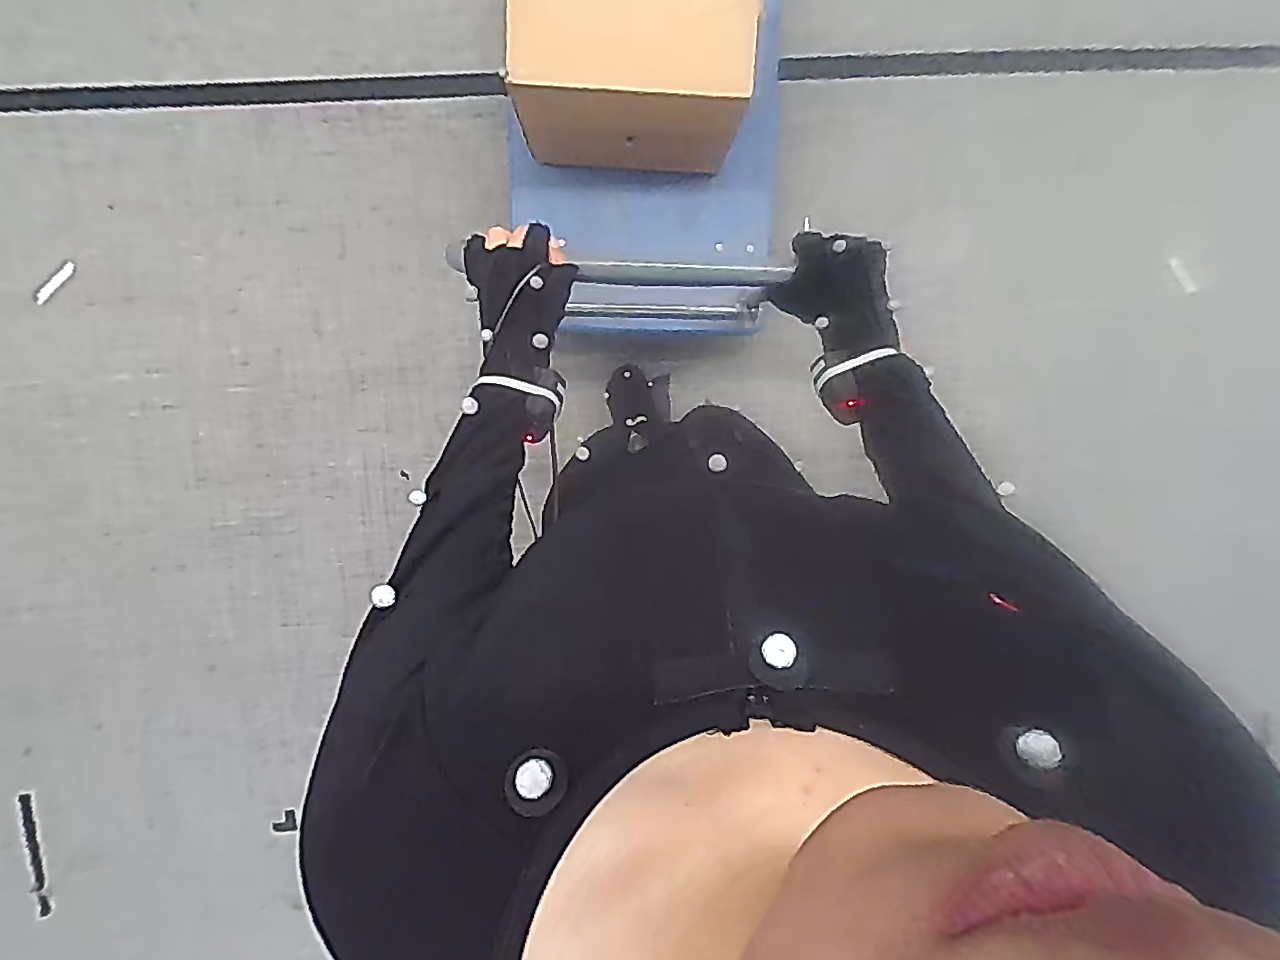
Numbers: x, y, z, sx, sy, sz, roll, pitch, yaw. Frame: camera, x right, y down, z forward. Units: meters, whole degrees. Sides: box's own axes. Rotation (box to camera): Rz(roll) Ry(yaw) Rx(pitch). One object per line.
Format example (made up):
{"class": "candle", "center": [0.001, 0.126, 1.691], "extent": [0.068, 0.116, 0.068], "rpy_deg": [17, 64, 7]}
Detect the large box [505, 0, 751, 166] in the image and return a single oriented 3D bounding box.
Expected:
{"class": "large box", "center": [-0.020, -0.813, 1.009], "extent": [0.408, 0.320, 0.320], "rpy_deg": [2, 99, -2]}

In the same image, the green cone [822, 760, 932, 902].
{"class": "green cone", "center": [0.664, 0.967, 1.466], "extent": [0.202, 0.368, 0.200], "rpy_deg": [1, 99, -4]}
